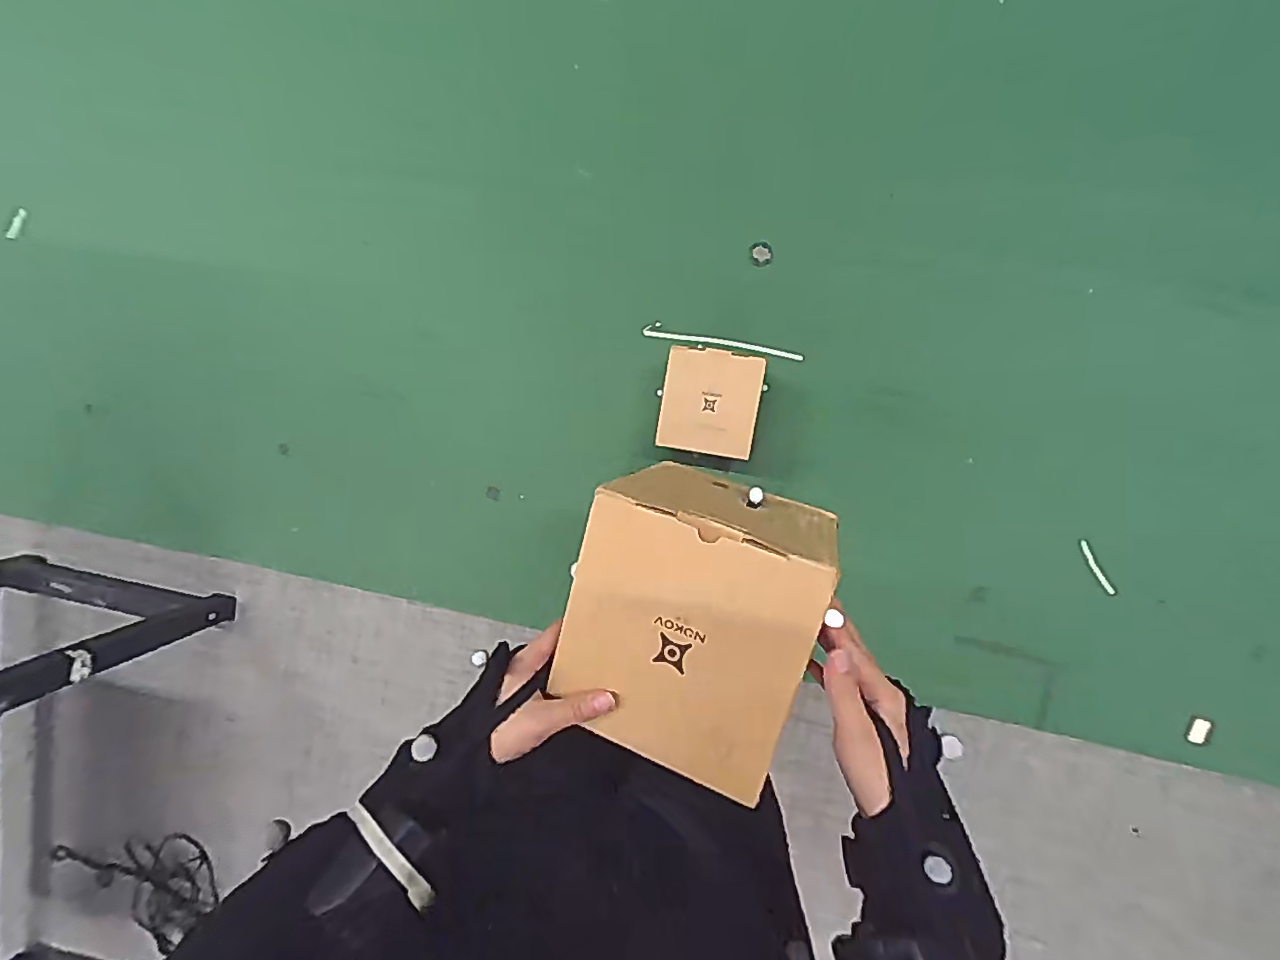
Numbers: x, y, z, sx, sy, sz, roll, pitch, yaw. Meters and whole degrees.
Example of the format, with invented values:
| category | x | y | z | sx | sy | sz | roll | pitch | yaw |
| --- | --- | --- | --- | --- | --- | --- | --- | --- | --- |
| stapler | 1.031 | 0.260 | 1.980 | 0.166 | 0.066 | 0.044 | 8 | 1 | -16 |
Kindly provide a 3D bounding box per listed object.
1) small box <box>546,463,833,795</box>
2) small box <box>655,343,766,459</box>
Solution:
| category | x | y | z | sx | sy | sz | roll | pitch | yaw |
| --- | --- | --- | --- | --- | --- | --- | --- | --- | --- |
| small box | 0.049 | 0.097 | 0.441 | 0.168 | 0.176 | 0.179 | 19 | 103 | 15 |
| small box | 0.128 | -0.143 | 0.999 | 0.168 | 0.176 | 0.179 | 10 | 98 | 7 |
